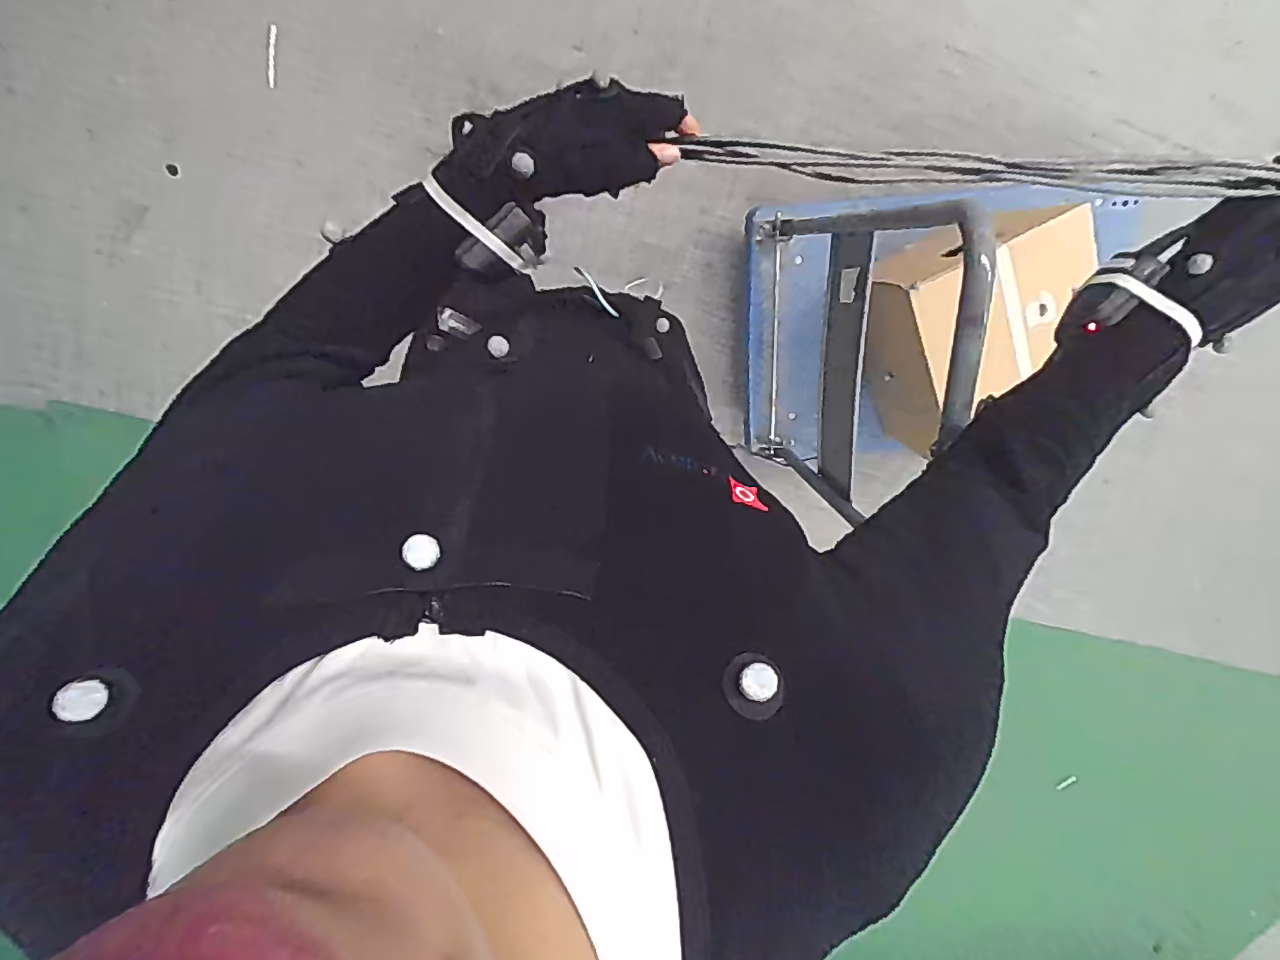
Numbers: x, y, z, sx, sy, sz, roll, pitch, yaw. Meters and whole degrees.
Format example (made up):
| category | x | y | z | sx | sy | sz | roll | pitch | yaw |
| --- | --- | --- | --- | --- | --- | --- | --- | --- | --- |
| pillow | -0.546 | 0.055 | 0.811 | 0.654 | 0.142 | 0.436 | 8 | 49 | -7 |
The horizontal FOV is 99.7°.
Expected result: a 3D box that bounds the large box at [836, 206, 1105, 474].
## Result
| category | x | y | z | sx | sy | sz | roll | pitch | yaw |
| --- | --- | --- | --- | --- | --- | --- | --- | --- | --- |
| large box | 0.667 | -0.290 | 1.129 | 0.320 | 0.320 | 0.408 | -26 | 111 | 6 |
